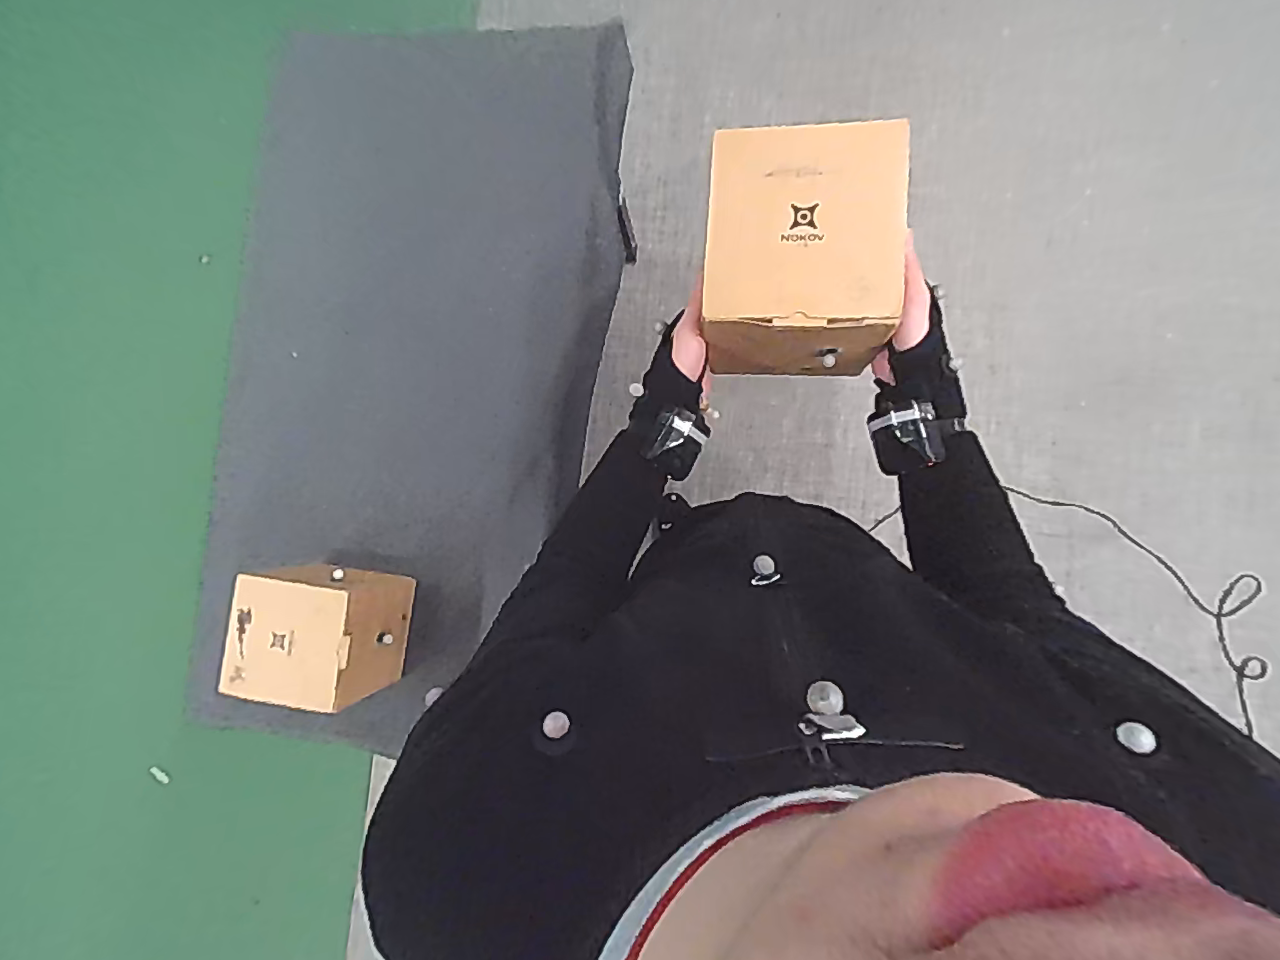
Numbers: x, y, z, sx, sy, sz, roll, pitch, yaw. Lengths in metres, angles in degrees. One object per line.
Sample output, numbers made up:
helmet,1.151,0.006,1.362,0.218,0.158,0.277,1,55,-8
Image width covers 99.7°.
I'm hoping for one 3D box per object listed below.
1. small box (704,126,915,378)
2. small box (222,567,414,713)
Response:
small box,0.156,-0.208,0.537,0.168,0.176,0.179,4,84,9
small box,-0.468,0.227,0.813,0.179,0.176,0.168,7,86,6
